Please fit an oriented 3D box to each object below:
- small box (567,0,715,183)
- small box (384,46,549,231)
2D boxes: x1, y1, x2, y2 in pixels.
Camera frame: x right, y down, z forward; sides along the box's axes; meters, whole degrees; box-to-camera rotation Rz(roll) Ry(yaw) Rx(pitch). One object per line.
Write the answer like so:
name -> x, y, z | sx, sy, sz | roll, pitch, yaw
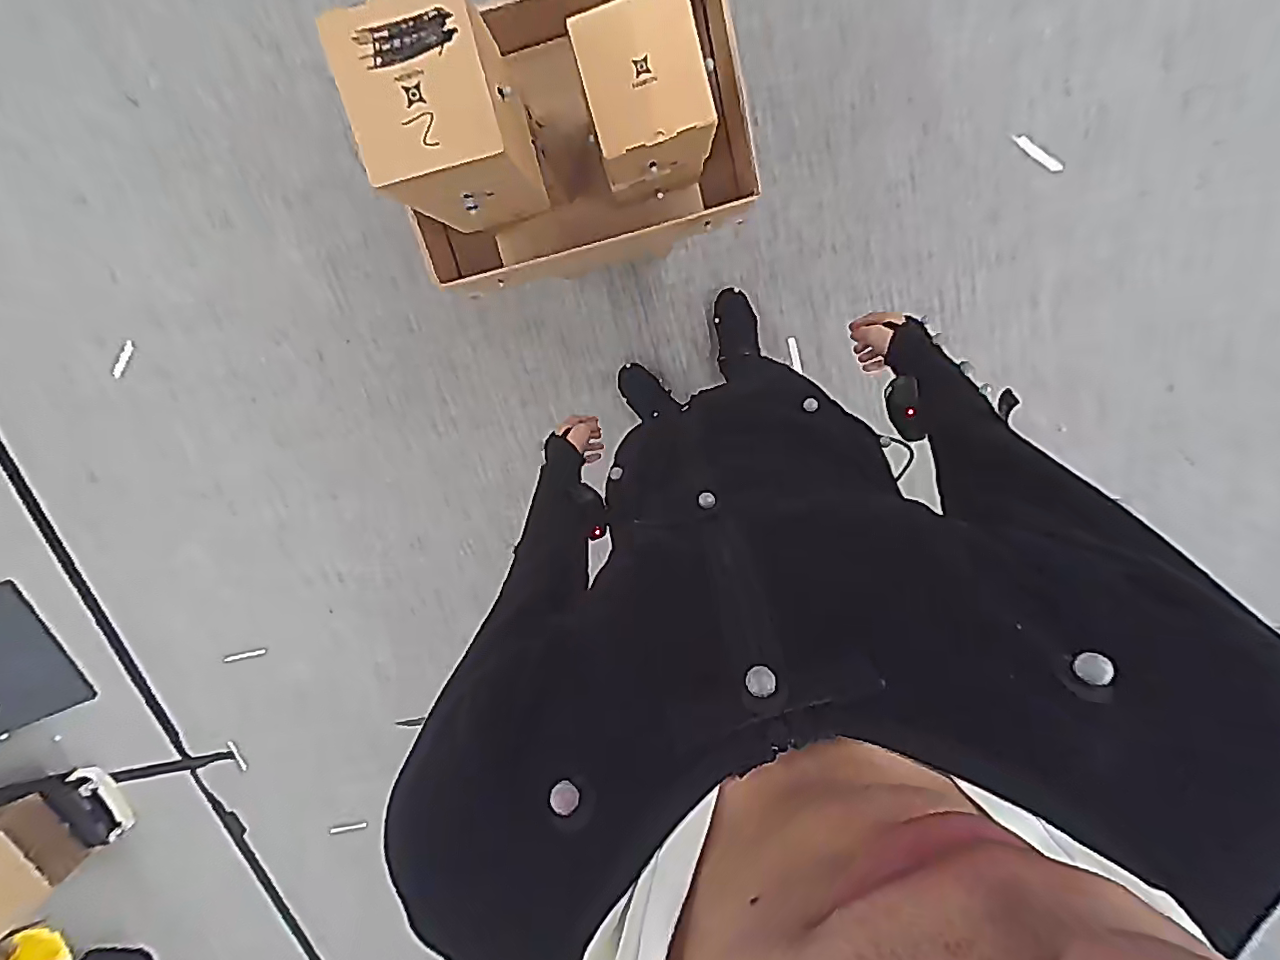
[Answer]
small box -> 0.003, -0.576, 0.805 | 0.168, 0.176, 0.179 | -16, 106, 6
small box -> -0.253, -0.507, 0.832 | 0.168, 0.176, 0.179 | -13, 104, 6
